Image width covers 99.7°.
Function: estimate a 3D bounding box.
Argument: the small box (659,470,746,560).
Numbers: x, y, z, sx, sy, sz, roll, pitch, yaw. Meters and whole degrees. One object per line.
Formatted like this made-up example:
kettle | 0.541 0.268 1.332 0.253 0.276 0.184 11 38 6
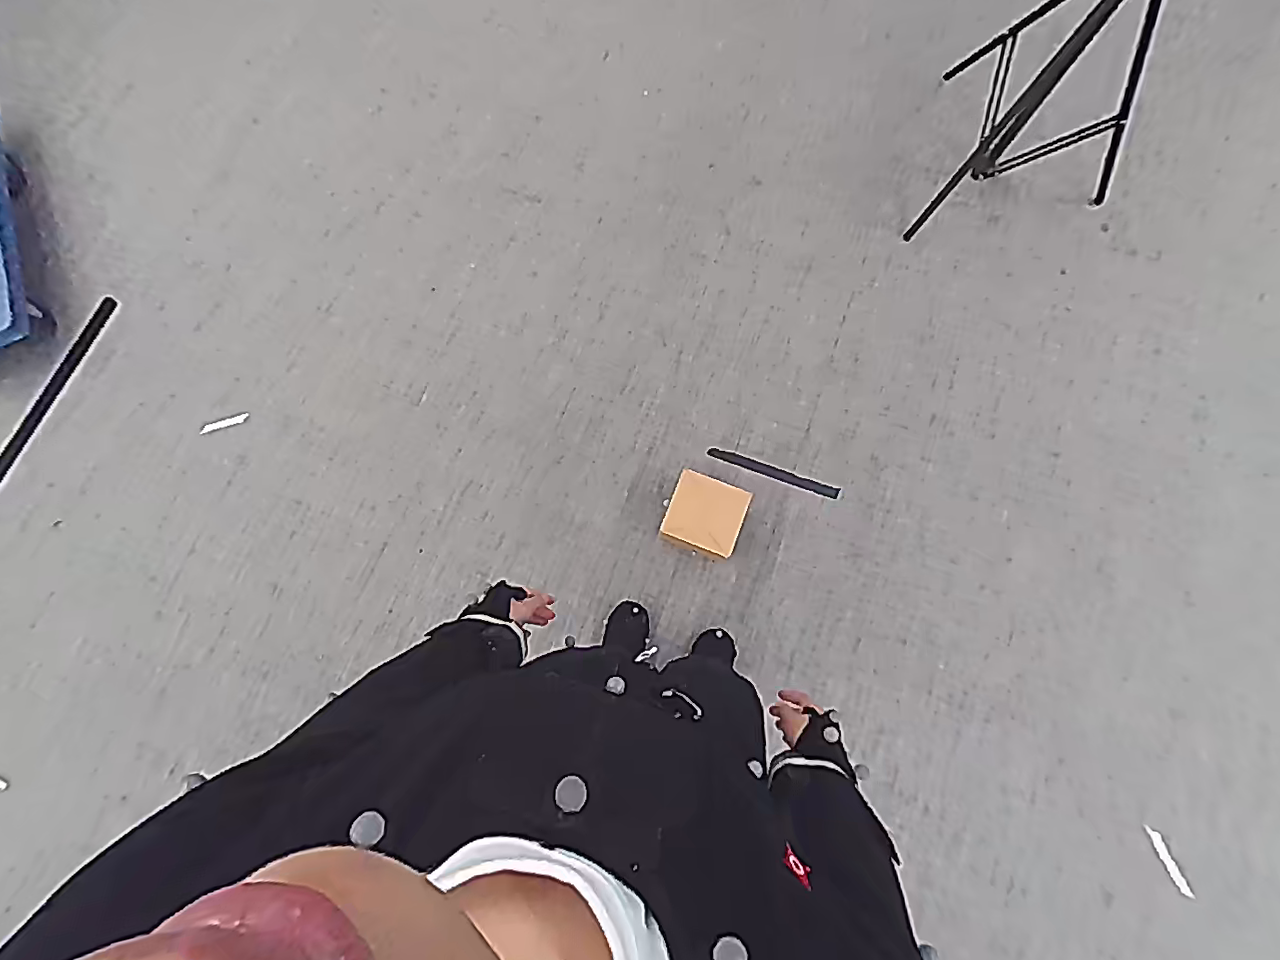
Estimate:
small box | 0.155 0.092 1.347 0.179 0.176 0.168 21 79 5
